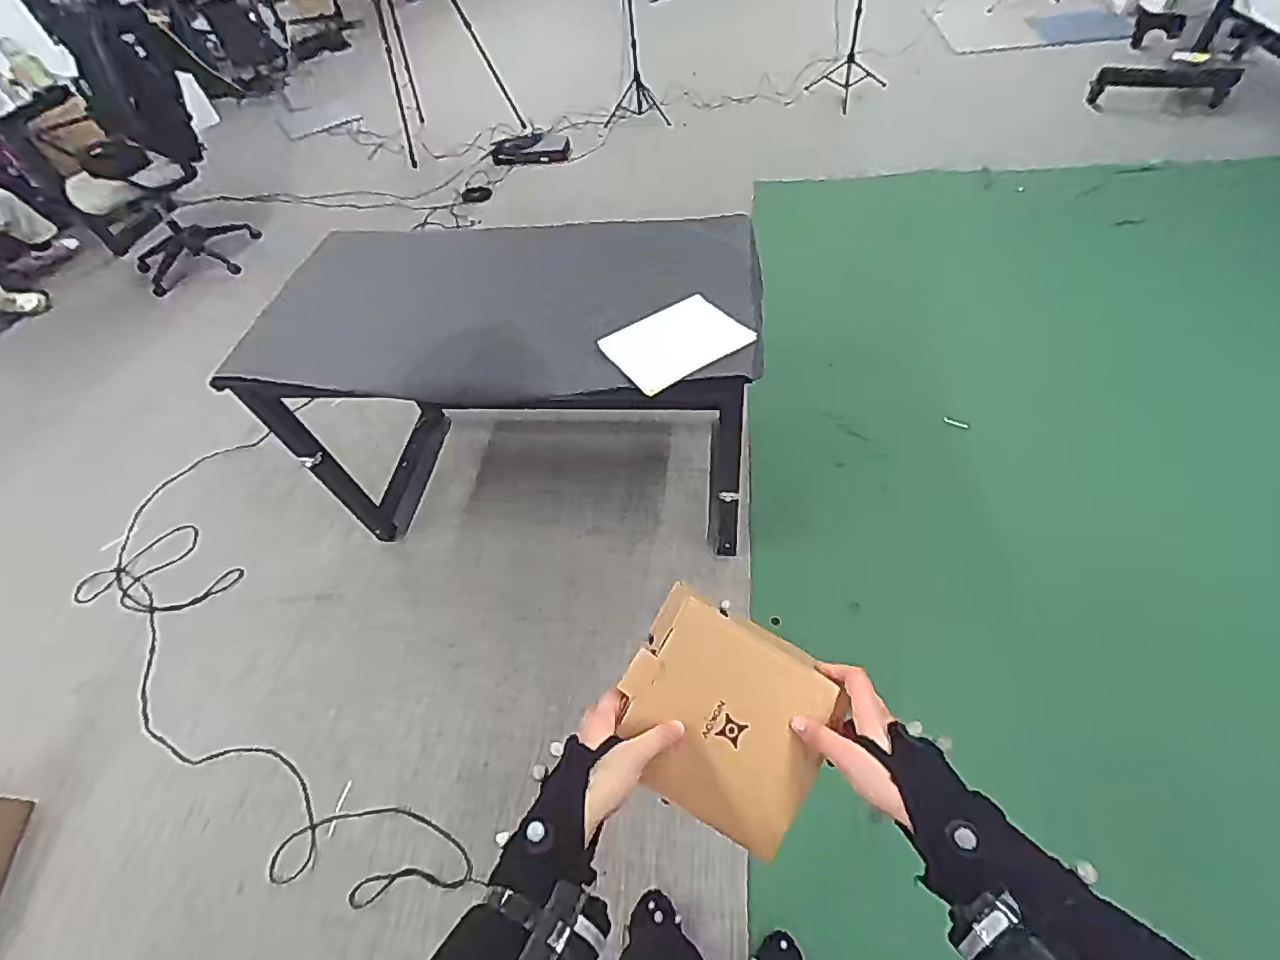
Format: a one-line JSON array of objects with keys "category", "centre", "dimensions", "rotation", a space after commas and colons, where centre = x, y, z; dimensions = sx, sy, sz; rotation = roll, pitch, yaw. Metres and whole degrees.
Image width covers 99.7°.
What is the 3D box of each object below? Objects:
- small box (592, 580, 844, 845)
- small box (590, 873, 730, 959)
[{"category": "small box", "centre": [0.073, 0.217, 0.563], "dimensions": [0.179, 0.176, 0.168], "rotation": [29, 87, 4]}, {"category": "small box", "centre": [0.045, 0.890, 1.019], "dimensions": [0.176, 0.168, 0.179], "rotation": [48, 46, 10]}]
